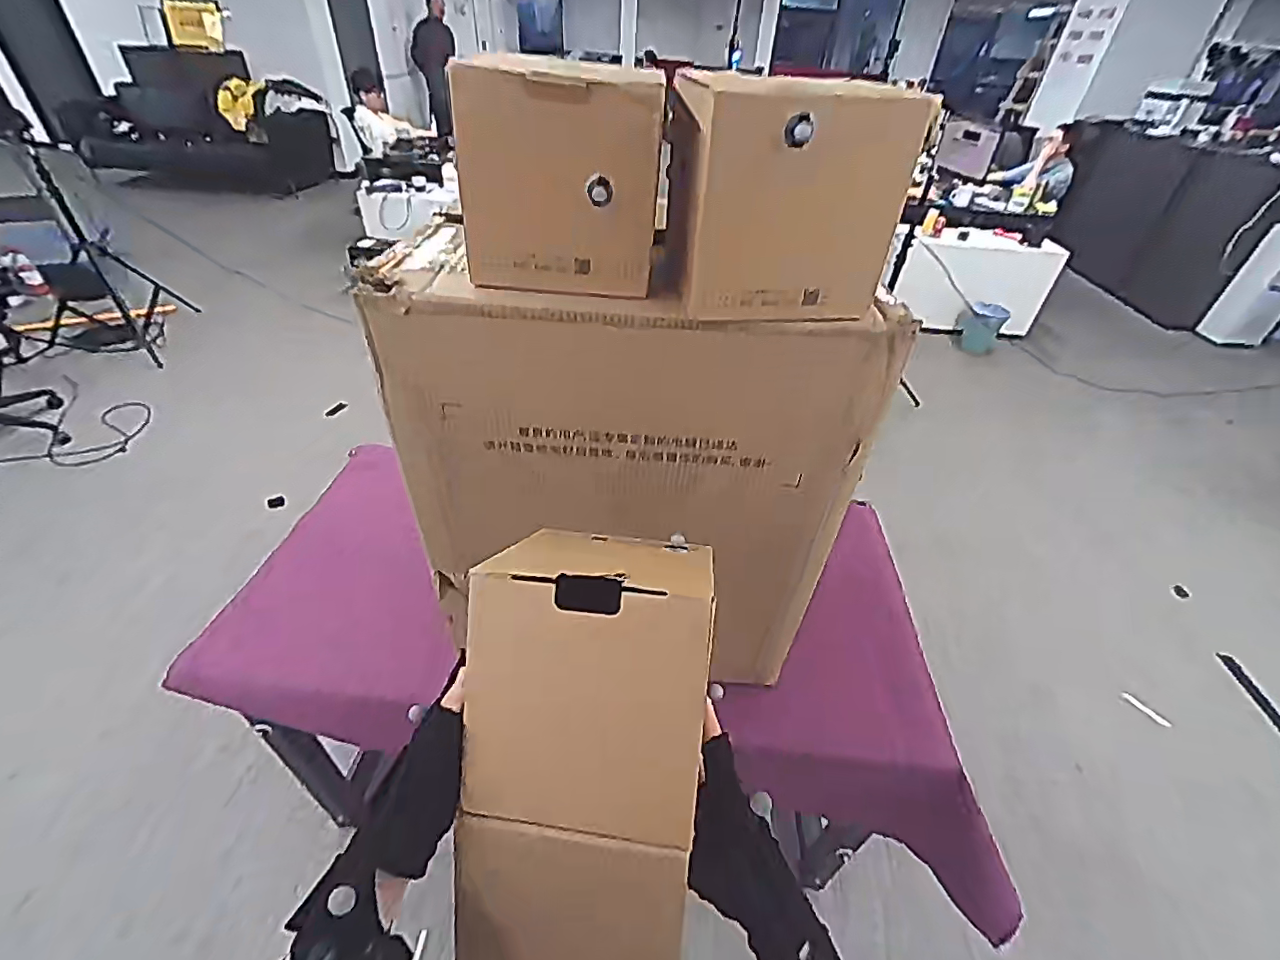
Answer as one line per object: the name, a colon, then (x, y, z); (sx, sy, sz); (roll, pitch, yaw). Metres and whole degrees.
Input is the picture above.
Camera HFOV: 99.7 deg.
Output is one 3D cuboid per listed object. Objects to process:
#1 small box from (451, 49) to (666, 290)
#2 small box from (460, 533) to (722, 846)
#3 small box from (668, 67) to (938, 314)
small box: (-0.066, -0.295, 0.516); (0.168, 0.176, 0.179); (5, 38, -3)
small box: (-0.027, 0.143, 0.435); (0.168, 0.179, 0.176); (4, 4, 7)
small box: (0.122, -0.264, 0.493); (0.168, 0.176, 0.179); (-3, 39, -6)
